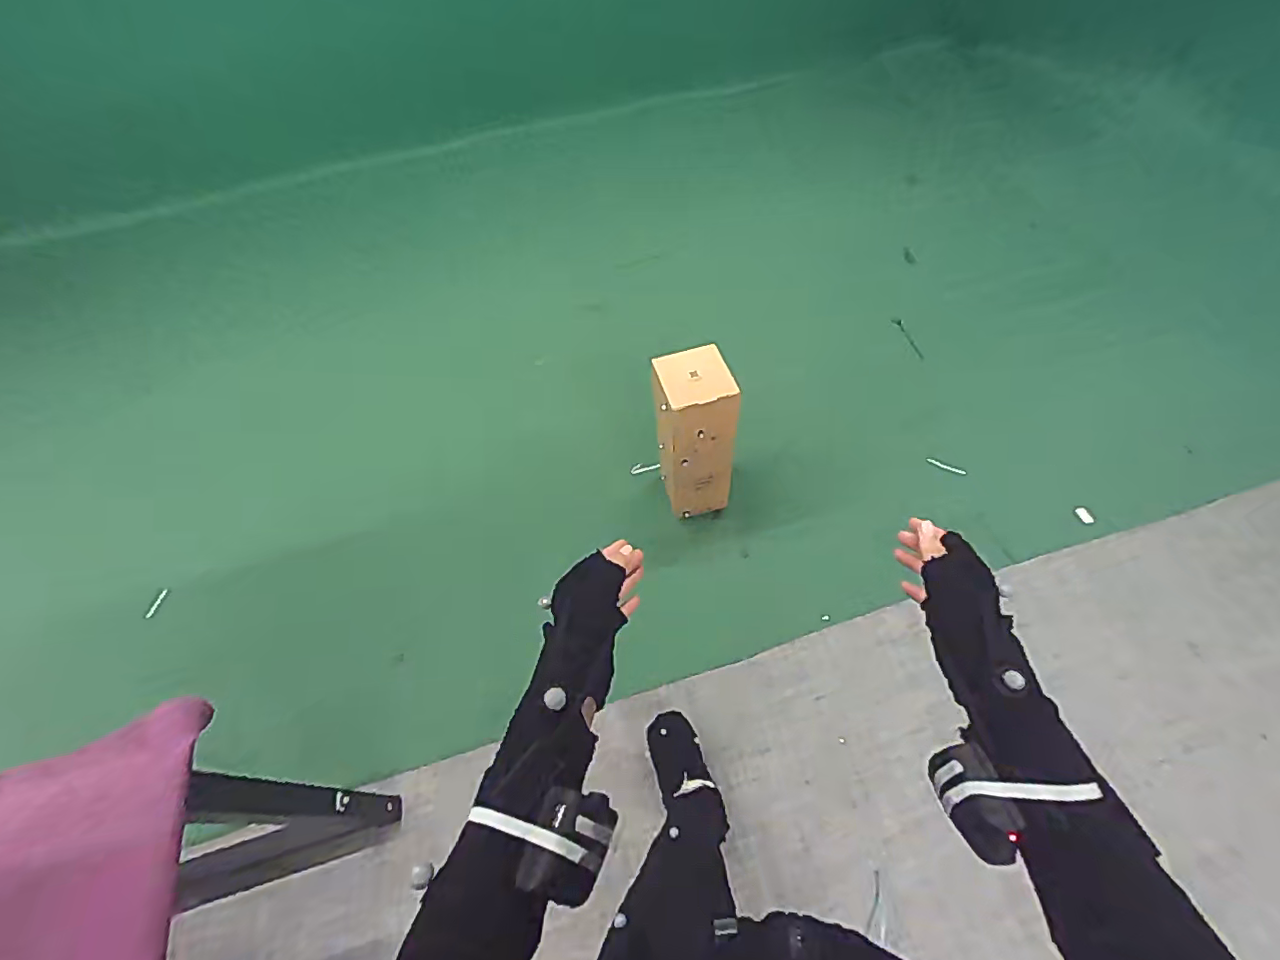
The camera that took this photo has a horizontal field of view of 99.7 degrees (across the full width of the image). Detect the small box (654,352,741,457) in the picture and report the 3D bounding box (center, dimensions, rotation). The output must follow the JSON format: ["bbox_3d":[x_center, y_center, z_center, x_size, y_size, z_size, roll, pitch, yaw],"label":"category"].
[{"bbox_3d":[0.138,-0.186,1.348,0.168,0.176,0.179,-16,56,-6],"label":"small box"}]

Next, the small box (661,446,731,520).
[{"bbox_3d":[0.165,0.002,1.615,0.168,0.176,0.179,-14,55,-5],"label":"small box"}]
